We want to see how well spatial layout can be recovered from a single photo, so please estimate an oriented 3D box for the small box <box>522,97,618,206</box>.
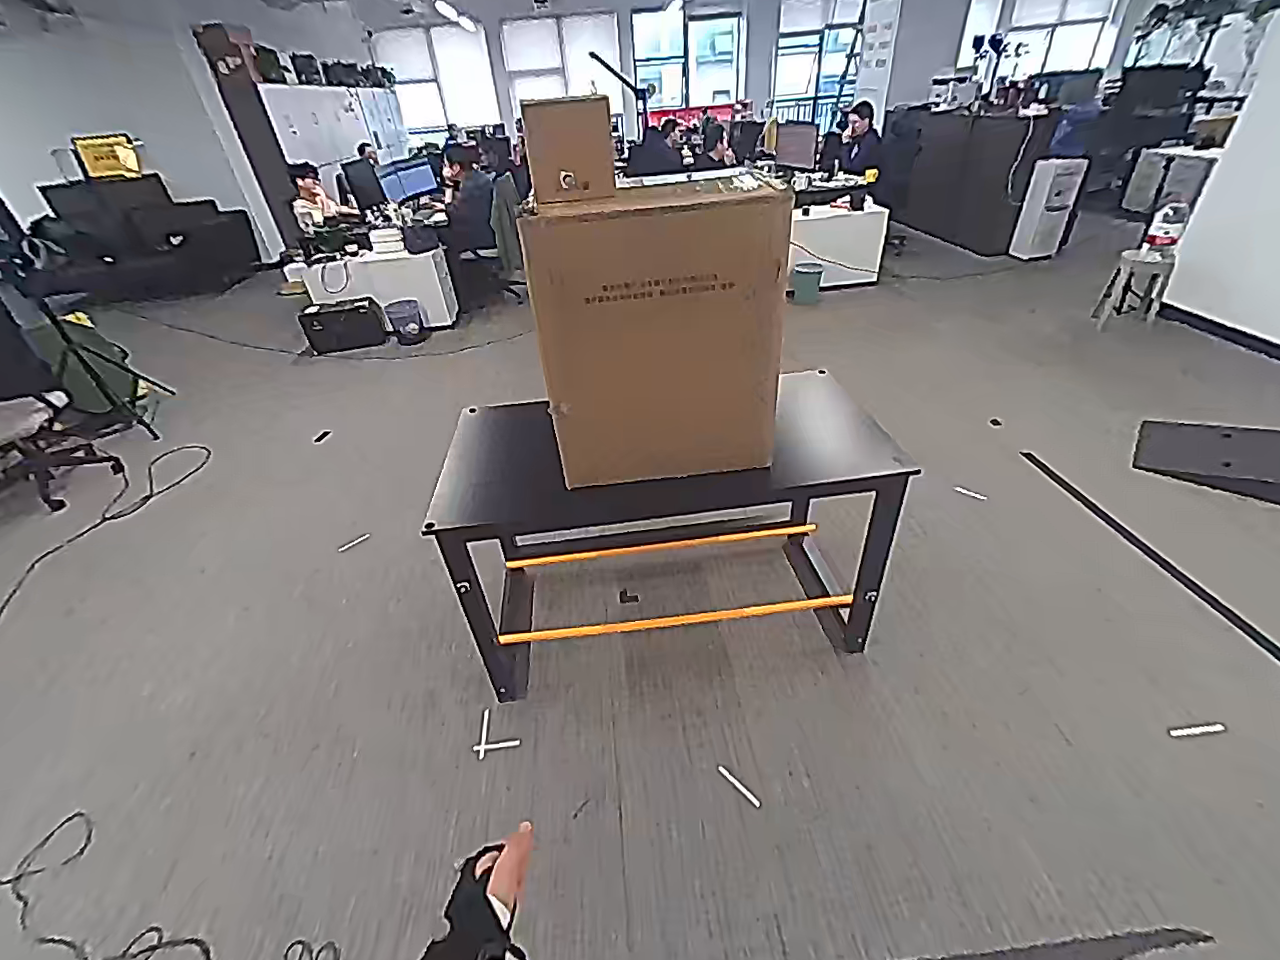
[{"bbox_3d":[-0.142,-0.663,1.091,0.168,0.176,0.179,-10,38,-6],"label":"small box"}]
